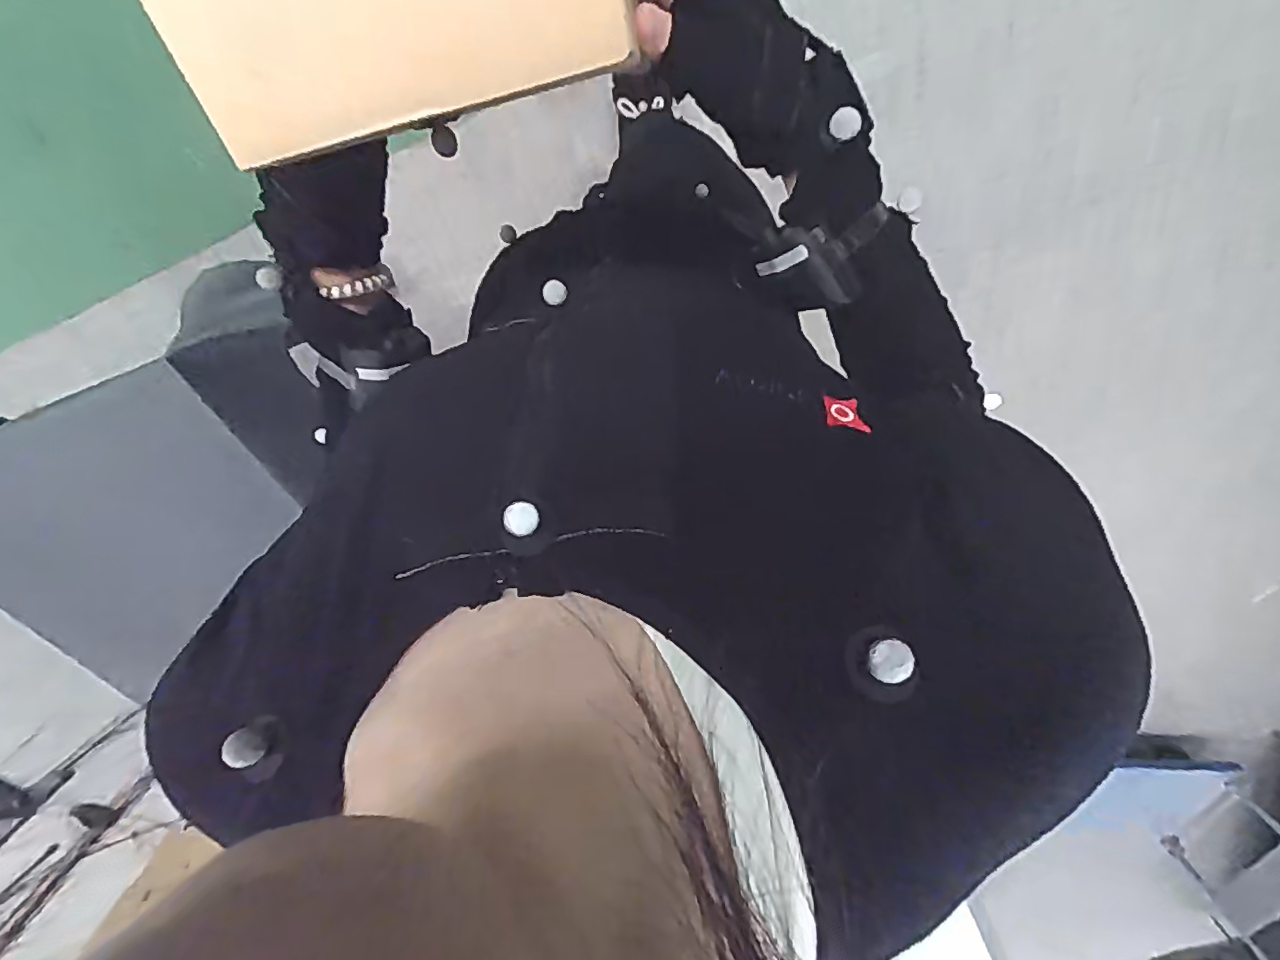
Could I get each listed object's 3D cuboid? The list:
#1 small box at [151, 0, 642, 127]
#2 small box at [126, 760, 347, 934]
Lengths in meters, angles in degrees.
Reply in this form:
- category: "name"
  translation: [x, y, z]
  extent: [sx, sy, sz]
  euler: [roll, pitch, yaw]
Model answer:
- category: "small box"
  translation: [-0.101, -0.267, 0.228]
  extent: [0.179, 0.176, 0.168]
  euler: [-9, 127, 9]
- category: "small box"
  translation: [-0.607, 0.560, 0.841]
  extent: [0.168, 0.176, 0.179]
  euler: [-19, 120, 12]
